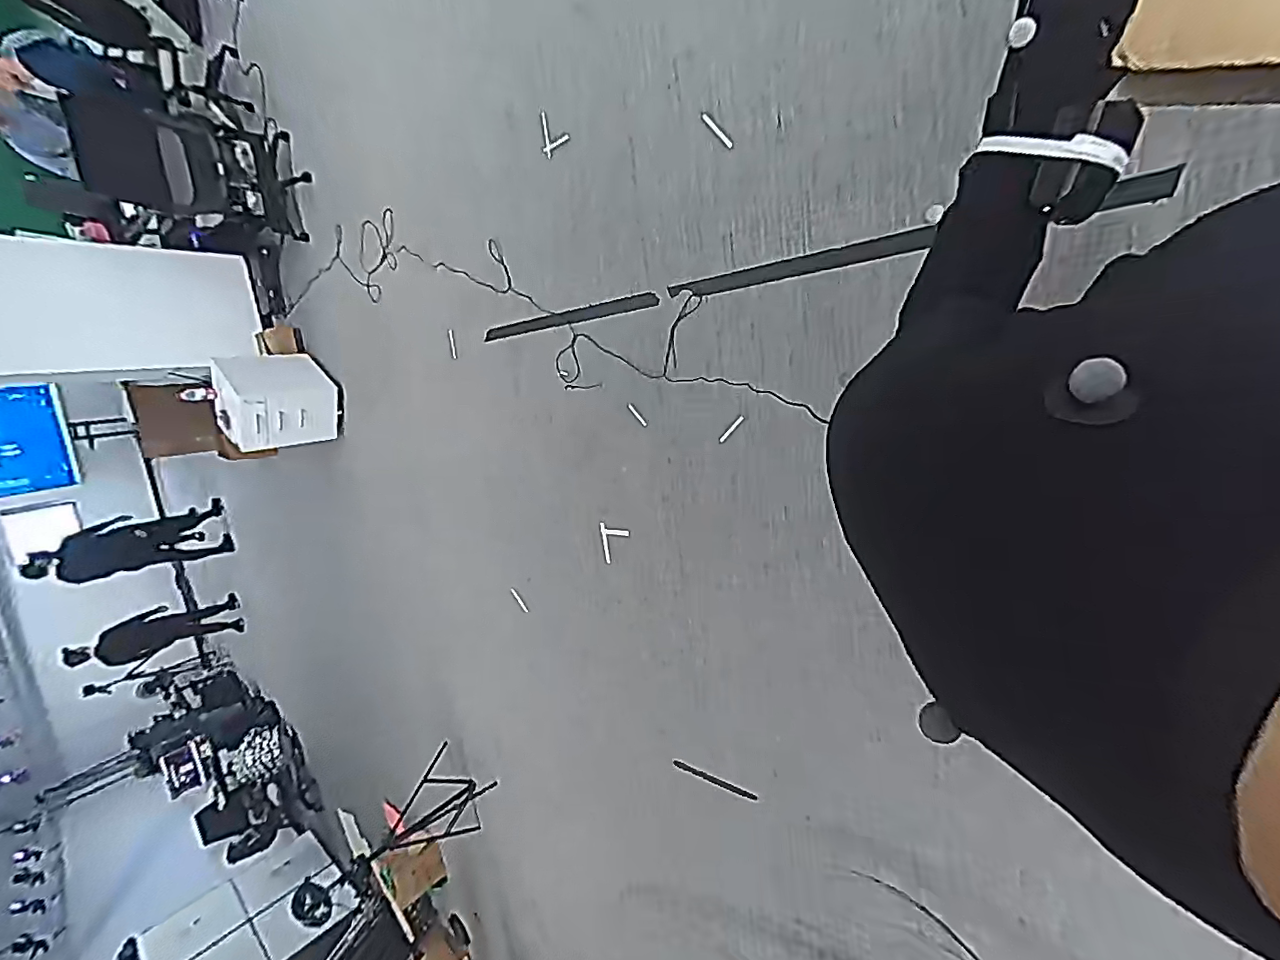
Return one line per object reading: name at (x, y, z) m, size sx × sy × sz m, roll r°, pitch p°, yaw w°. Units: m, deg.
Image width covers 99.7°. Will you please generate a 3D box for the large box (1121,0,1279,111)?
large box at (0.571, -0.406, 0.290) m, size 0.408 × 0.320 × 0.320 m, roll 22°, pitch 127°, yaw 32°
